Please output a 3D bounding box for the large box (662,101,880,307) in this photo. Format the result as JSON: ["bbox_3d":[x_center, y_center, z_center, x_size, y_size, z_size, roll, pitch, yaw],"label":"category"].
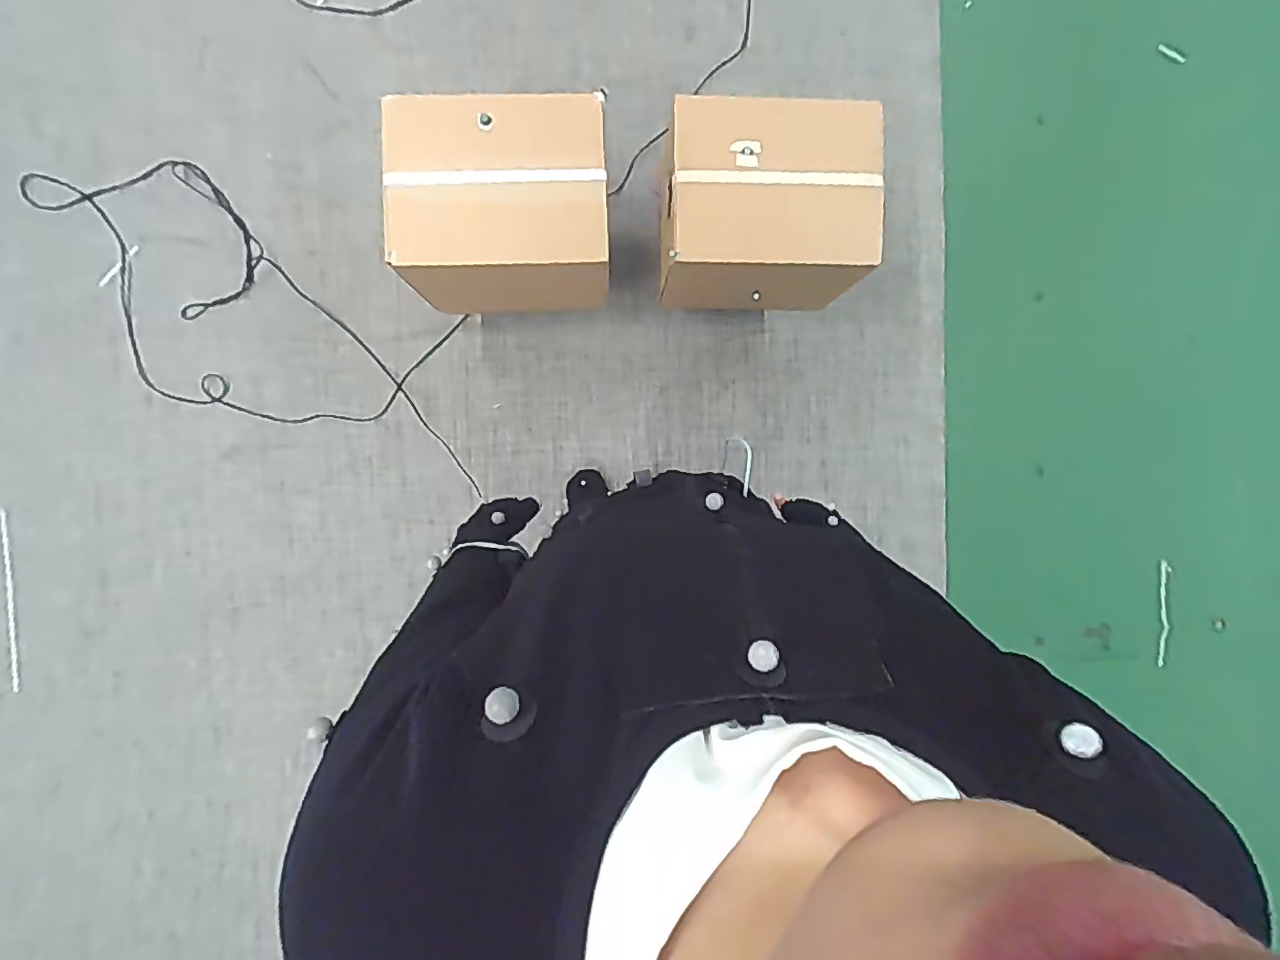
[{"bbox_3d":[0.261,-0.575,1.188,0.408,0.320,0.320,0,91,-3],"label":"large box"}]
